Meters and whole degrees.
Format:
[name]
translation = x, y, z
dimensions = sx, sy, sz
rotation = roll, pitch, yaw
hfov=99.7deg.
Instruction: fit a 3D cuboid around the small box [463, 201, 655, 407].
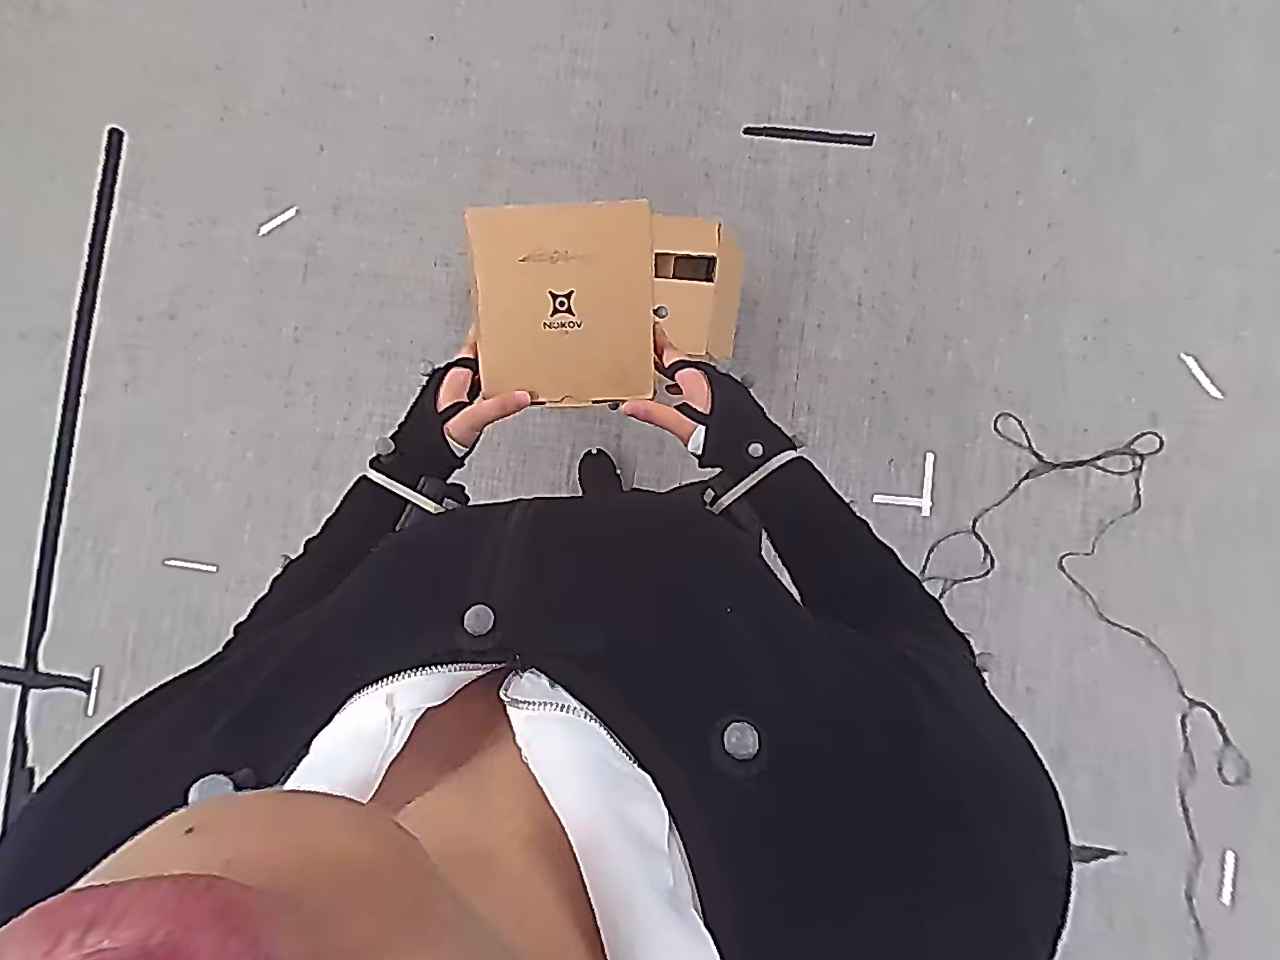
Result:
[small box]
translation = -0.069, -0.173, 0.562
dimensions = 0.168, 0.176, 0.179
rotation = -1, 103, 2
